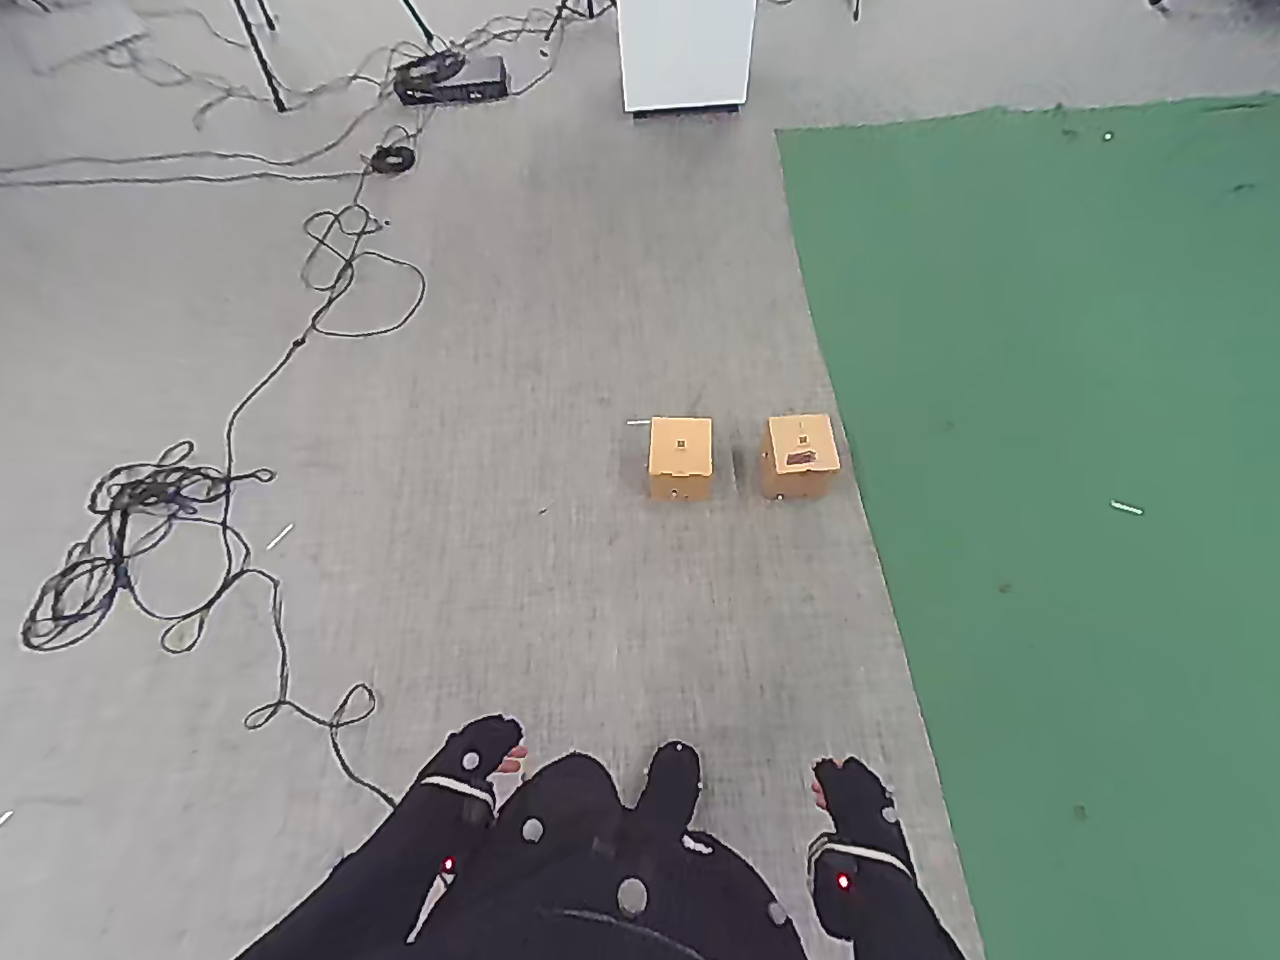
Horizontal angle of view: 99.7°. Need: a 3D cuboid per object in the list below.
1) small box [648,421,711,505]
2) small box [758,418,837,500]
[{"bbox_3d":[0.109,-0.045,1.512,0.168,0.176,0.179,2,64,3],"label":"small box"},{"bbox_3d":[0.428,-0.051,1.499,0.168,0.176,0.179,-3,63,1],"label":"small box"}]
